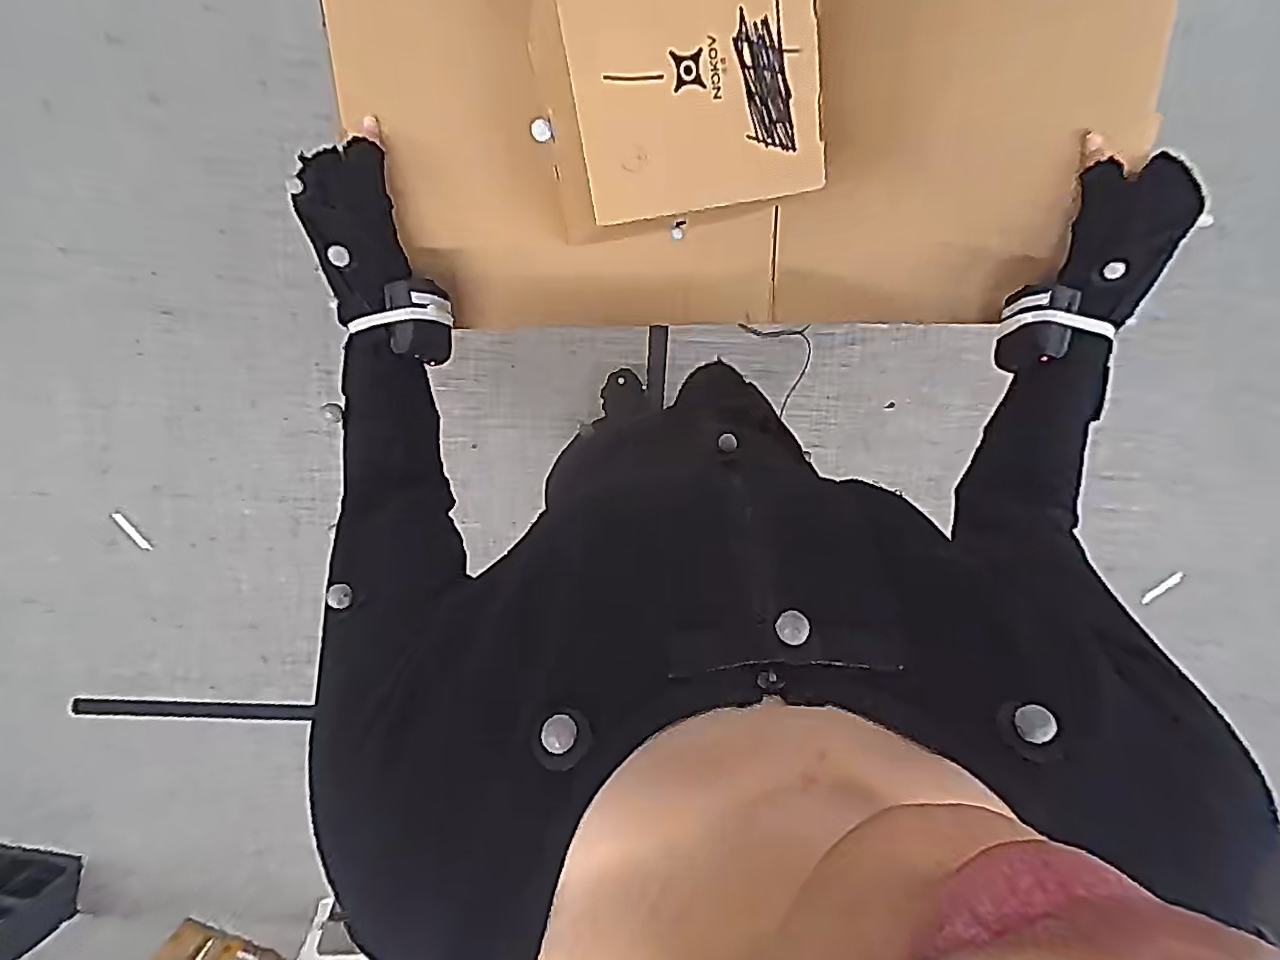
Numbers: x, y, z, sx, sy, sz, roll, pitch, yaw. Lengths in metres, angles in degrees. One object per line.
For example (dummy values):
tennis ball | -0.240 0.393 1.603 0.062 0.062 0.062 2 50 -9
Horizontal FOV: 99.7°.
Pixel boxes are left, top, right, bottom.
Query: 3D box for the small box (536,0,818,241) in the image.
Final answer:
small box | 0.021 -0.300 0.439 0.179 0.176 0.168 -14 110 -9
